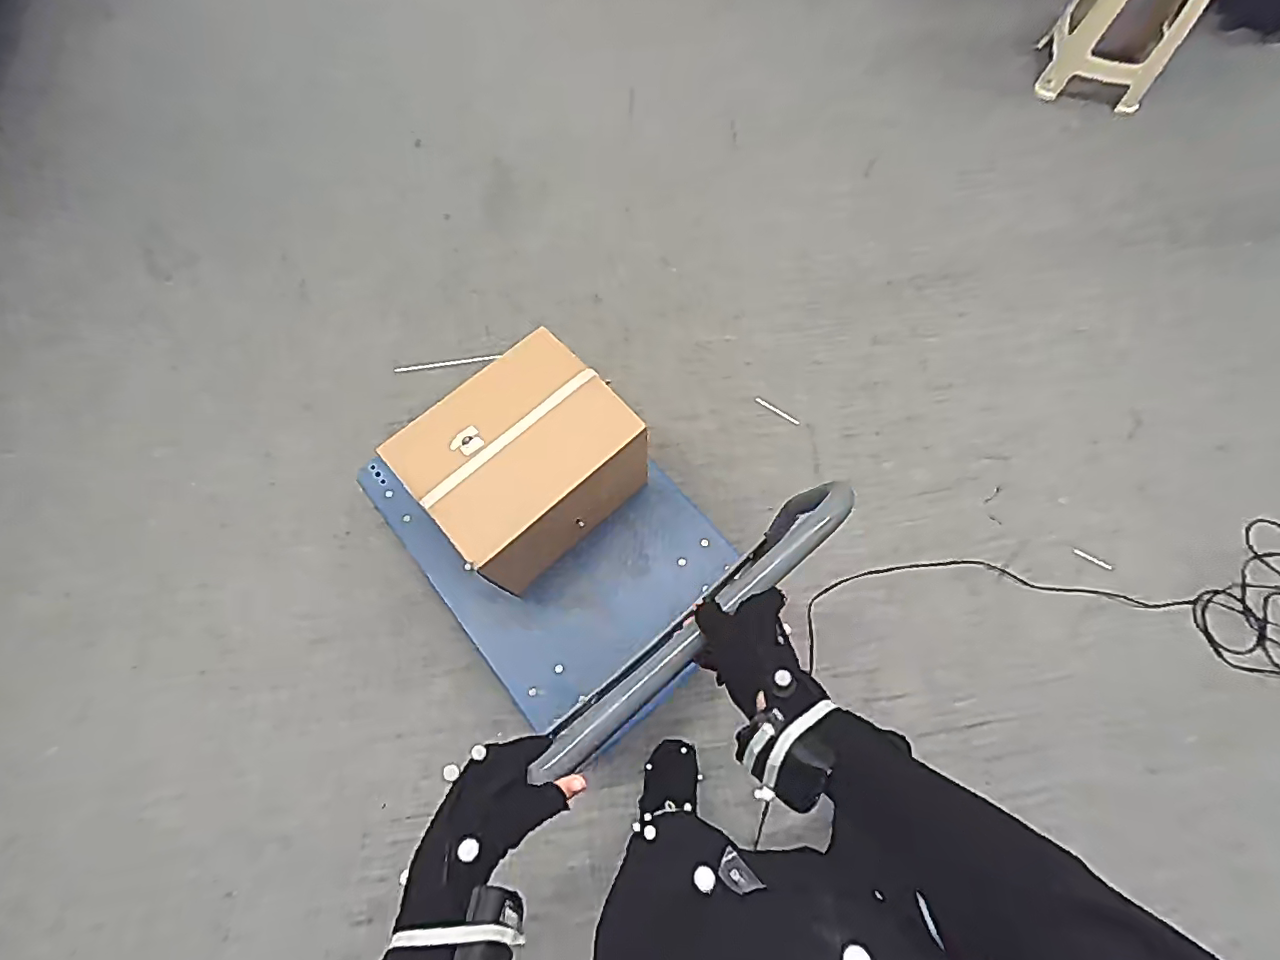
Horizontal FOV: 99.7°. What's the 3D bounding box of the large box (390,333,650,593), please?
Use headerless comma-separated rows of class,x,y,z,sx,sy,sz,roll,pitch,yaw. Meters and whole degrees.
large box,-0.223,-0.022,1.158,0.408,0.320,0.320,-41,74,-13
